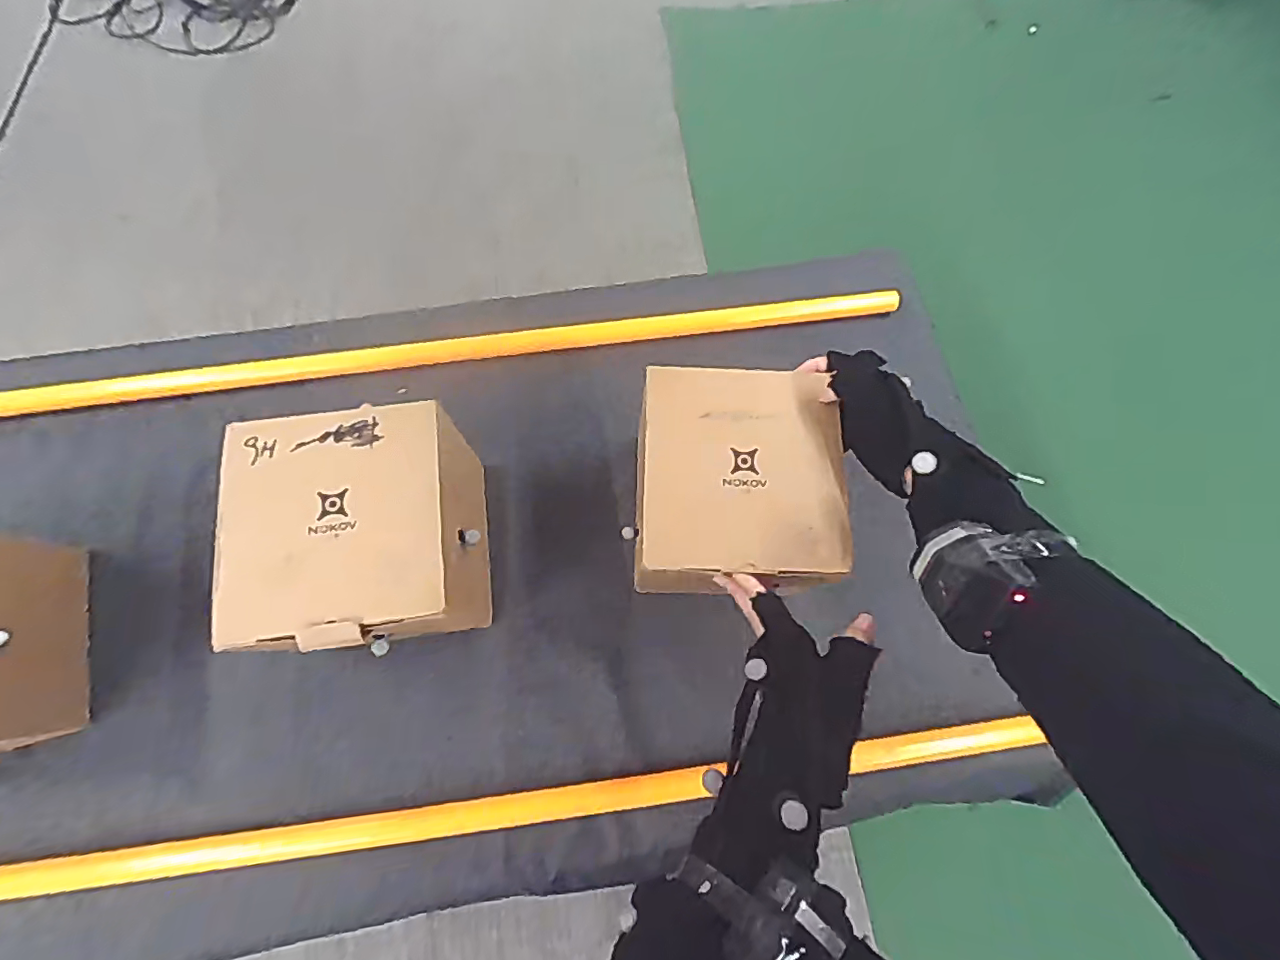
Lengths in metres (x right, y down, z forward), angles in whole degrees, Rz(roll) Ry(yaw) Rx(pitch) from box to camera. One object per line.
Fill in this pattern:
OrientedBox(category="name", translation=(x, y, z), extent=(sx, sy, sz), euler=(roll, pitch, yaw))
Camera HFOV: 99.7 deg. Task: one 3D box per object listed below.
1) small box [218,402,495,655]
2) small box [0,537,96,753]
OrientedBox(category="small box", translation=(-0.238, 0.053, 0.493), extent=(0.168, 0.176, 0.179), euler=(-10, 73, -4))
OrientedBox(category="small box", translation=(-0.605, 0.146, 0.443), extent=(0.168, 0.176, 0.179), euler=(-14, 75, -7))
